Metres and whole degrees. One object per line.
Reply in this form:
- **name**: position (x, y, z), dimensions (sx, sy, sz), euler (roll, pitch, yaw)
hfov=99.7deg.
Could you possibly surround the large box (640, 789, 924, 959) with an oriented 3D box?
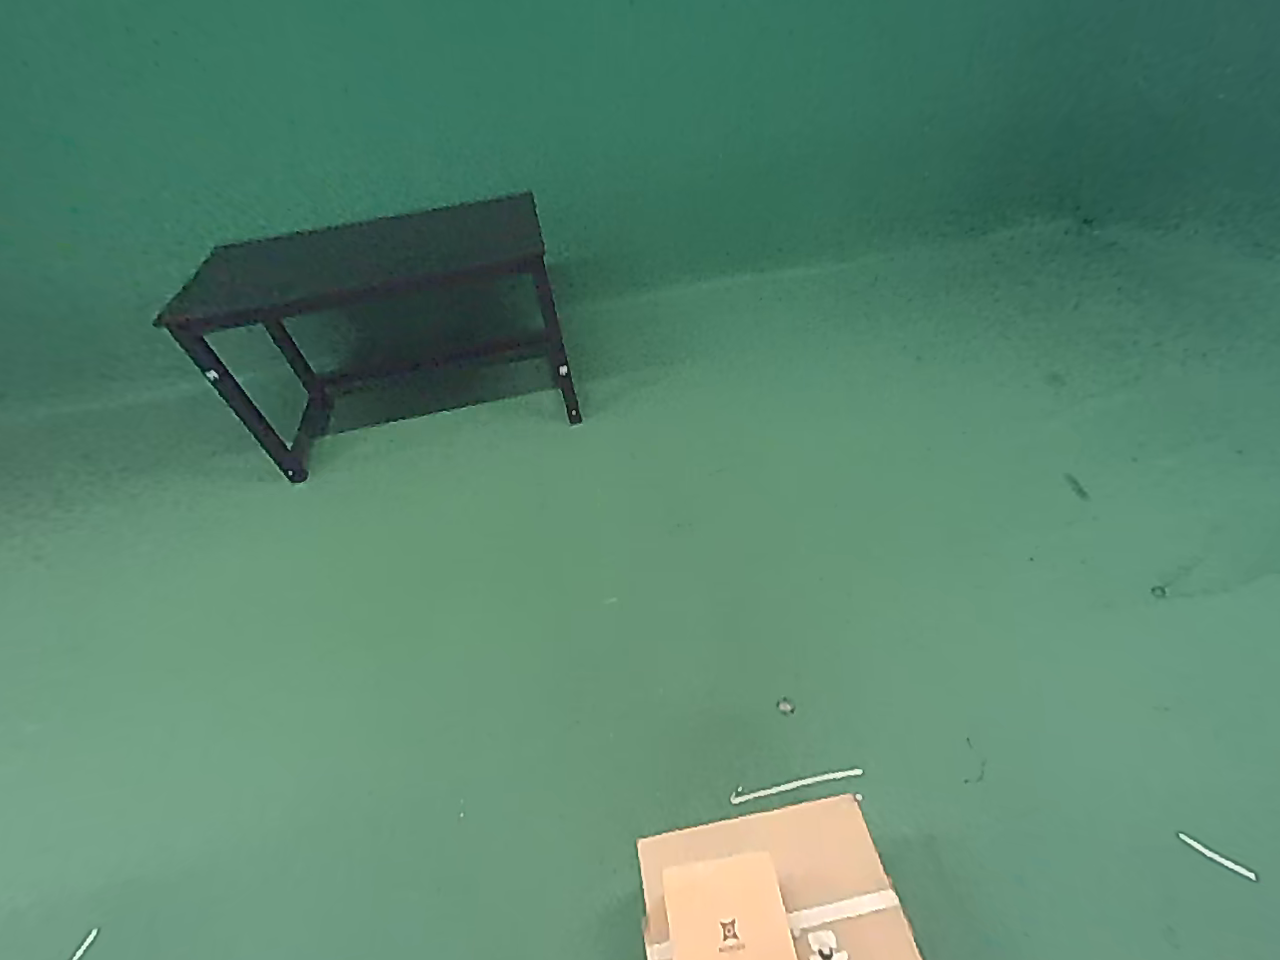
- **large box**: position (0.232, 0.807, 0.964), dimensions (0.408, 0.320, 0.320), euler (-11, 46, -3)

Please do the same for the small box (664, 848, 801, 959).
- **small box**: position (0.130, 0.661, 0.778), dimensions (0.168, 0.176, 0.179), euler (-9, 46, -2)
